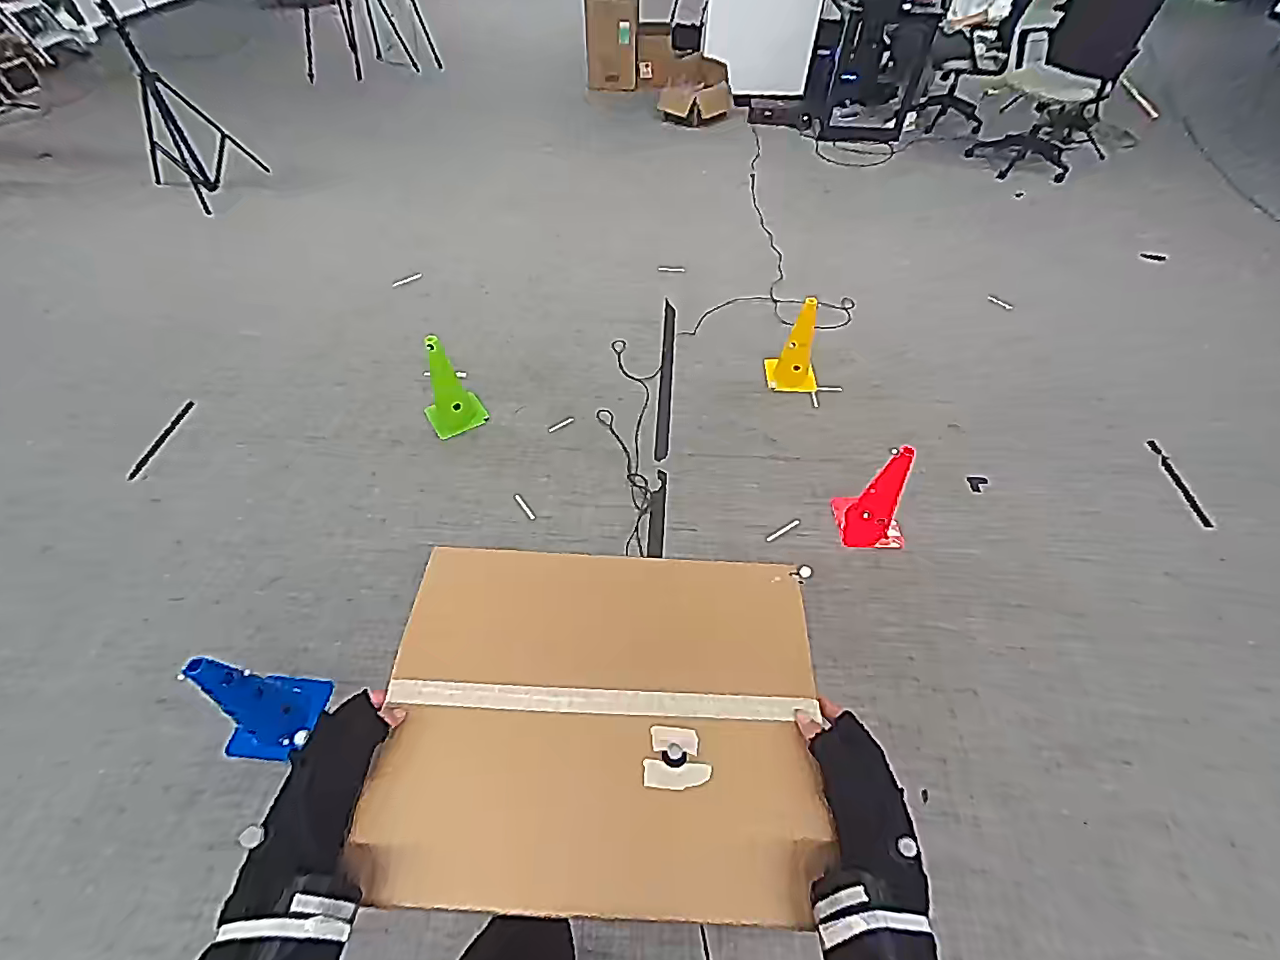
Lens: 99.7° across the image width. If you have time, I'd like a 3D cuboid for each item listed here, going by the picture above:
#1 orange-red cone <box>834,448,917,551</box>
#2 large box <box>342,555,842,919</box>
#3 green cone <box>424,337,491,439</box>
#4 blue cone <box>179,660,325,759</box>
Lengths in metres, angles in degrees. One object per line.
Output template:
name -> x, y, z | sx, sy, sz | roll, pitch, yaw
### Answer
orange-red cone -> 0.755, 0.035, 1.656 | 0.198, 0.360, 0.199 | 2, 49, -1
large box -> -0.039, 0.306, 0.630 | 0.408, 0.320, 0.320 | 4, 52, 0
green cone -> -0.701, -0.360, 1.954 | 0.202, 0.368, 0.200 | -28, 56, -20
blue cone -> -0.925, 0.507, 1.263 | 0.192, 0.380, 0.193 | 5, 51, 5
